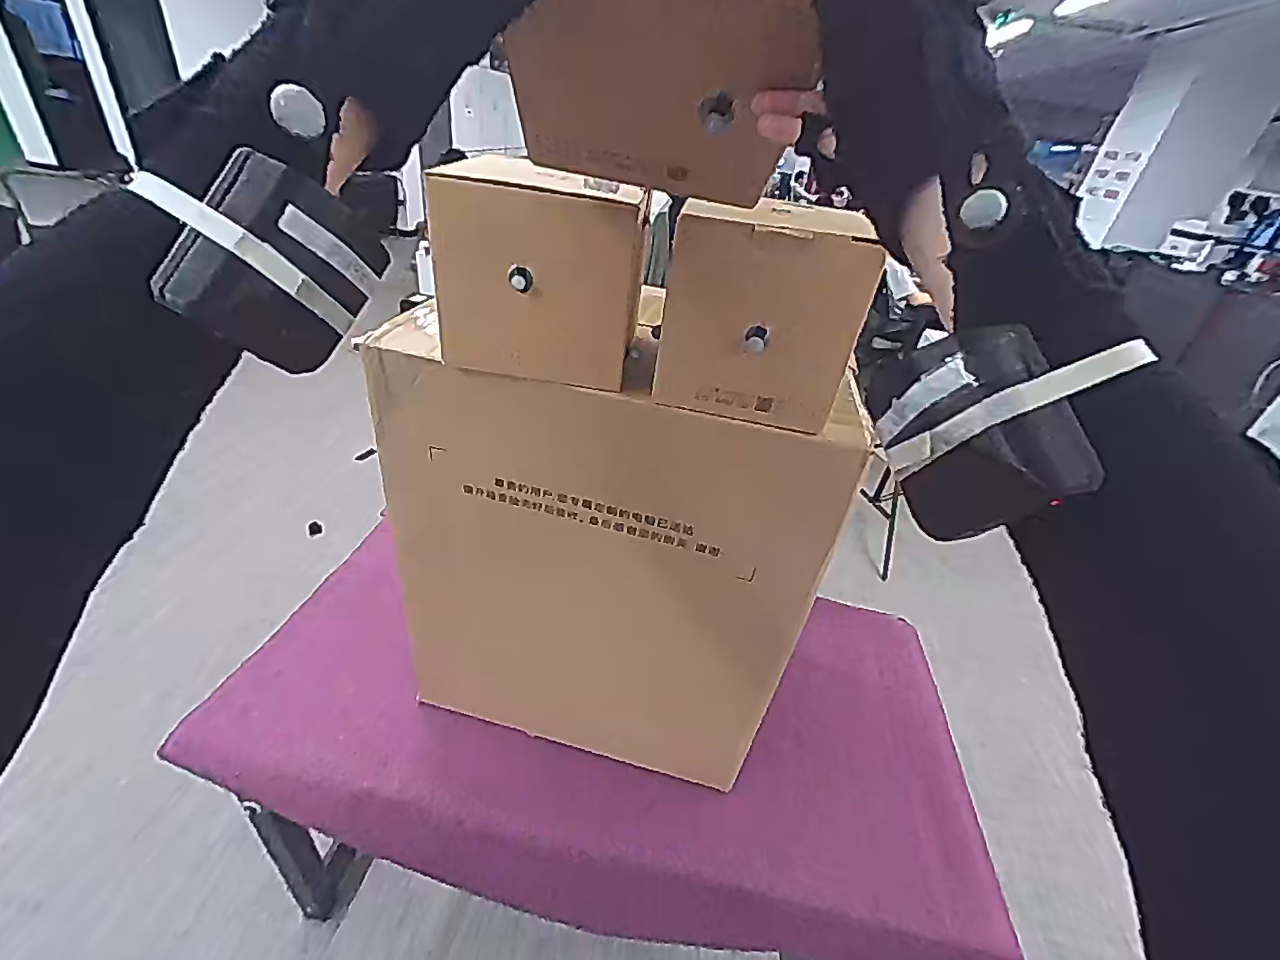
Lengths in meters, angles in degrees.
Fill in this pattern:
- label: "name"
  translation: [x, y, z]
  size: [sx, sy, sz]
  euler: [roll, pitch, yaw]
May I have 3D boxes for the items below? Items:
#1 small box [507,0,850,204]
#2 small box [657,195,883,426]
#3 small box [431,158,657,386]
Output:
- label: "small box"
  translation: [0.024, -0.300, 0.320]
  size: [0.168, 0.179, 0.176]
  euler: [10, -6, -4]
- label: "small box"
  translation: [0.116, -0.172, 0.533]
  size: [0.168, 0.176, 0.179]
  euler: [12, 35, 5]
- label: "small box"
  translation: [-0.084, -0.208, 0.542]
  size: [0.179, 0.176, 0.168]
  euler: [8, 34, 1]
